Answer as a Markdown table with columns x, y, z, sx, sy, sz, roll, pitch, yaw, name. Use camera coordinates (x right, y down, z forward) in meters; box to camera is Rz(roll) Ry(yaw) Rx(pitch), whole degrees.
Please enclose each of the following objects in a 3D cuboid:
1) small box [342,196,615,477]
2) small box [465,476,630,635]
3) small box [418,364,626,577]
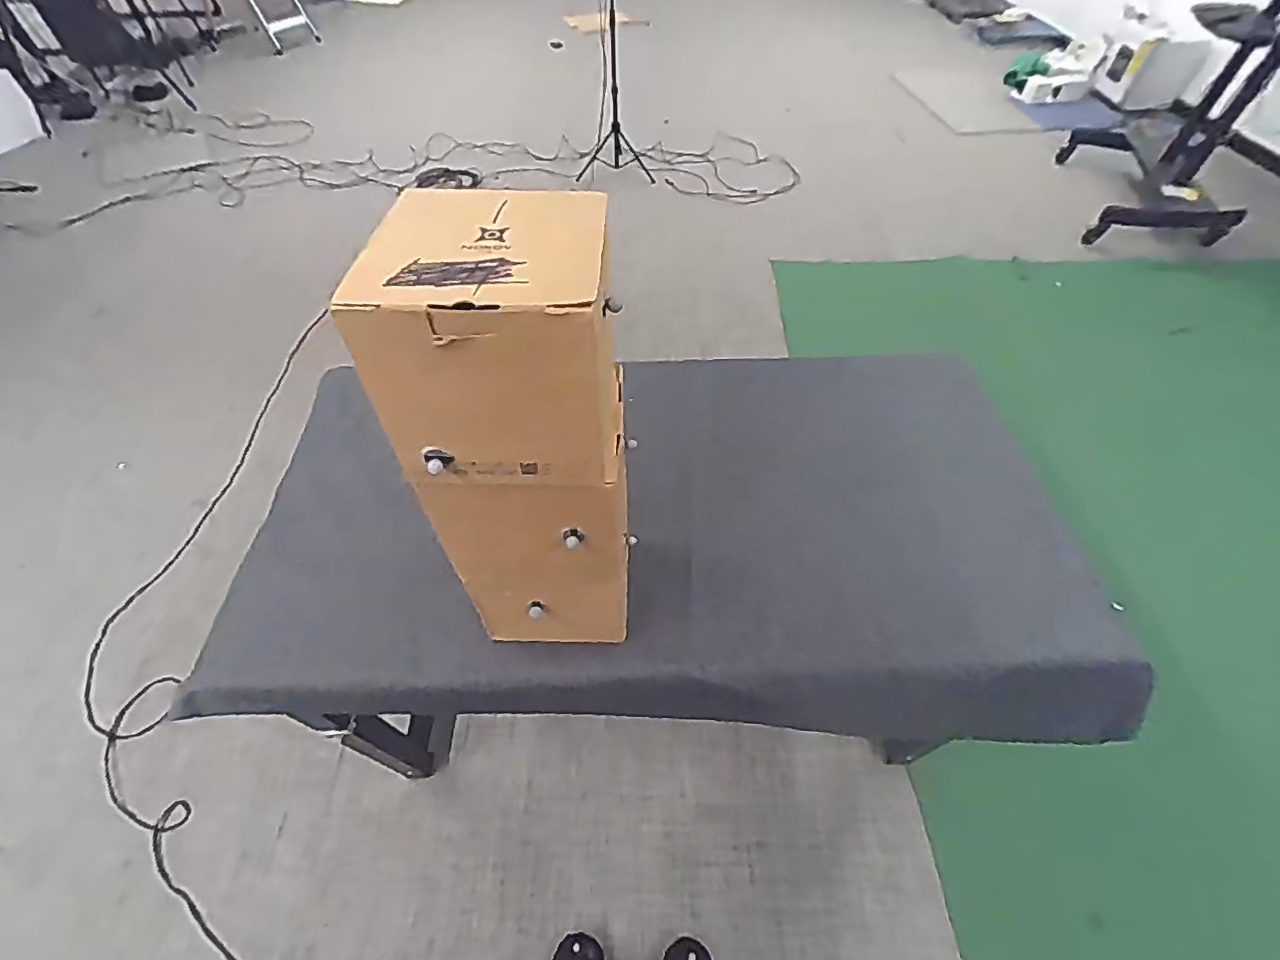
| x | y | z | sx | sy | sz | roll | pitch | yaw | name |
| --- | --- | --- | --- | --- | --- | --- | --- | --- | --- |
| -0.108 | -0.117 | 0.456 | 0.168 | 0.176 | 0.179 | 1 | 48 | 0 | small box |
| -0.105 | 0.093 | 0.706 | 0.179 | 0.176 | 0.168 | 1 | 51 | 1 | small box |
| -0.105 | -0.007 | 0.579 | 0.179 | 0.176 | 0.168 | 0 | 49 | 1 | small box |
